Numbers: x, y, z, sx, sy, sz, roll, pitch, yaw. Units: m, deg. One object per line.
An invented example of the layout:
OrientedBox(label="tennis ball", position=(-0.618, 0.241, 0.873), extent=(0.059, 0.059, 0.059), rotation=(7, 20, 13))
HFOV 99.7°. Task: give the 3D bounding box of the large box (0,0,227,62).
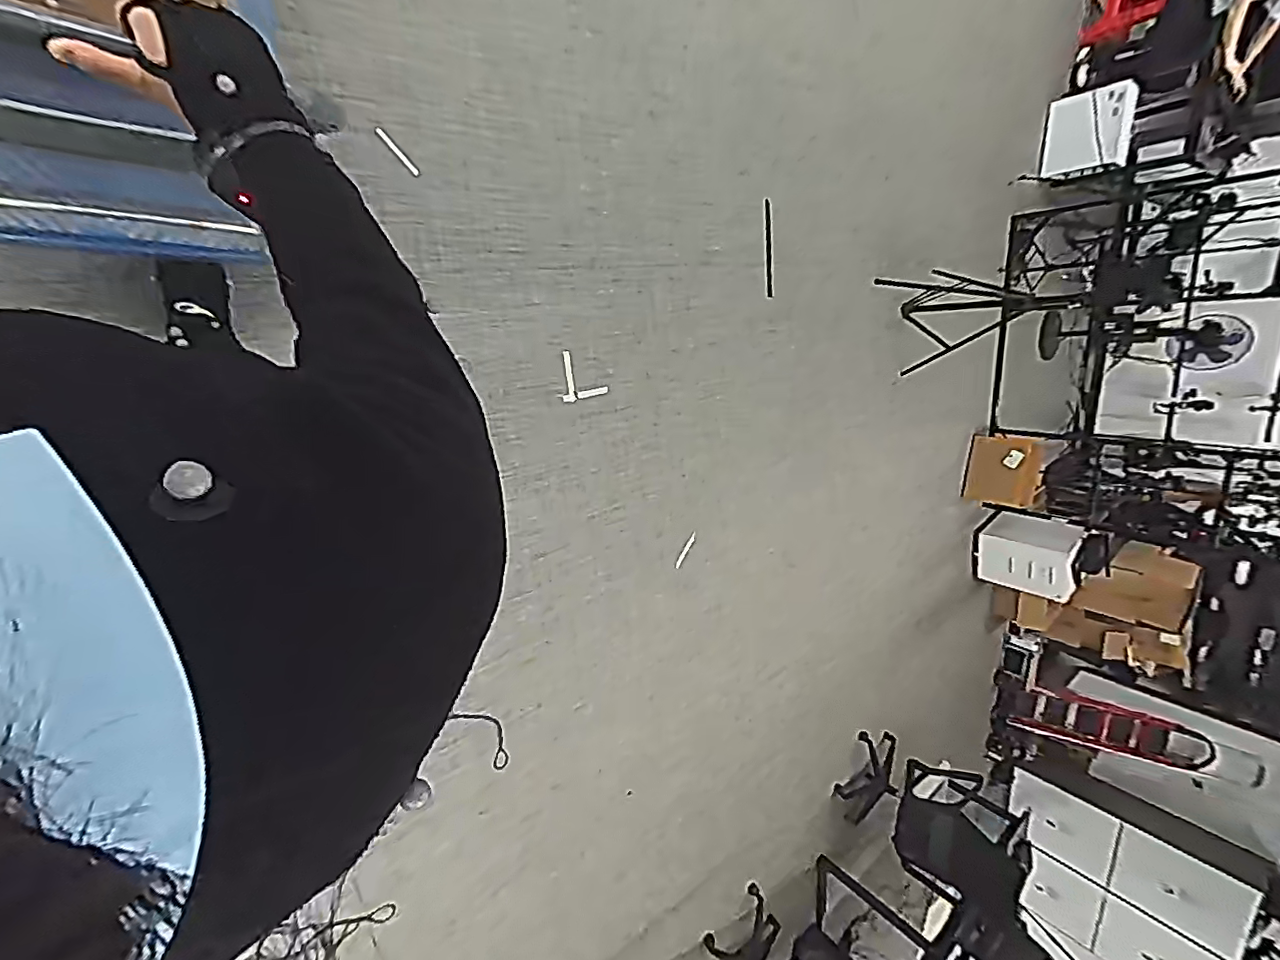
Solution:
OrientedBox(label="large box", position=(-0.813, -0.834, 0.704), extent=(0.408, 0.320, 0.320), rotation=(-9, 106, -37))
